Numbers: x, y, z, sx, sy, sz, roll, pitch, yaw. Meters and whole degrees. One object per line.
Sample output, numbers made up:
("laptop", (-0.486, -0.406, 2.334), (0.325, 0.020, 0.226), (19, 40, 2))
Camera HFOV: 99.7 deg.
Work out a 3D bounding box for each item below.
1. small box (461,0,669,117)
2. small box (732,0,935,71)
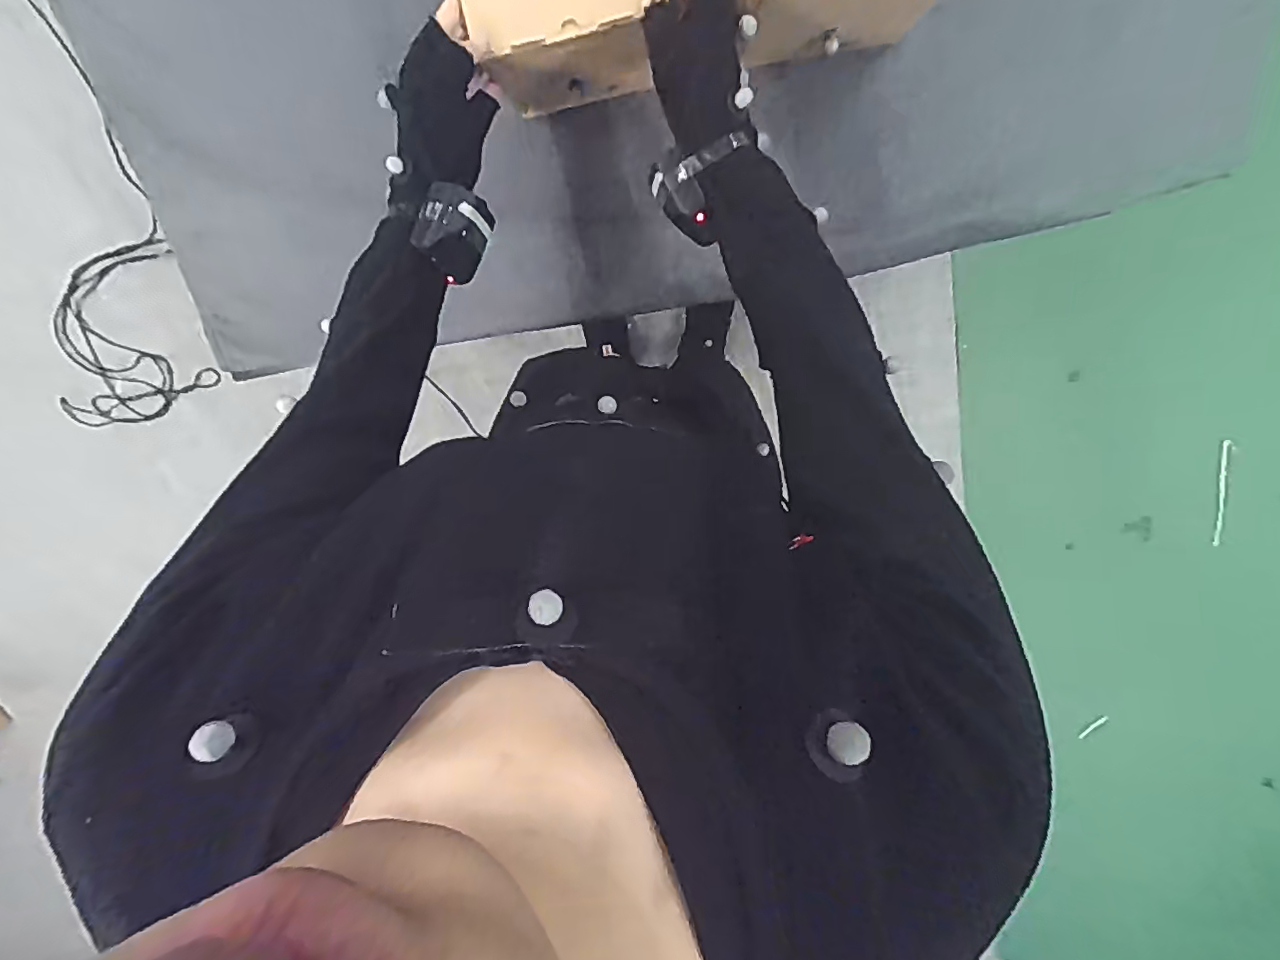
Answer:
("small box", (-0.070, -0.466, 0.488), (0.168, 0.176, 0.179), (-10, 109, 6))
("small box", (0.168, -0.495, 0.466), (0.168, 0.176, 0.179), (-5, 110, 5))
